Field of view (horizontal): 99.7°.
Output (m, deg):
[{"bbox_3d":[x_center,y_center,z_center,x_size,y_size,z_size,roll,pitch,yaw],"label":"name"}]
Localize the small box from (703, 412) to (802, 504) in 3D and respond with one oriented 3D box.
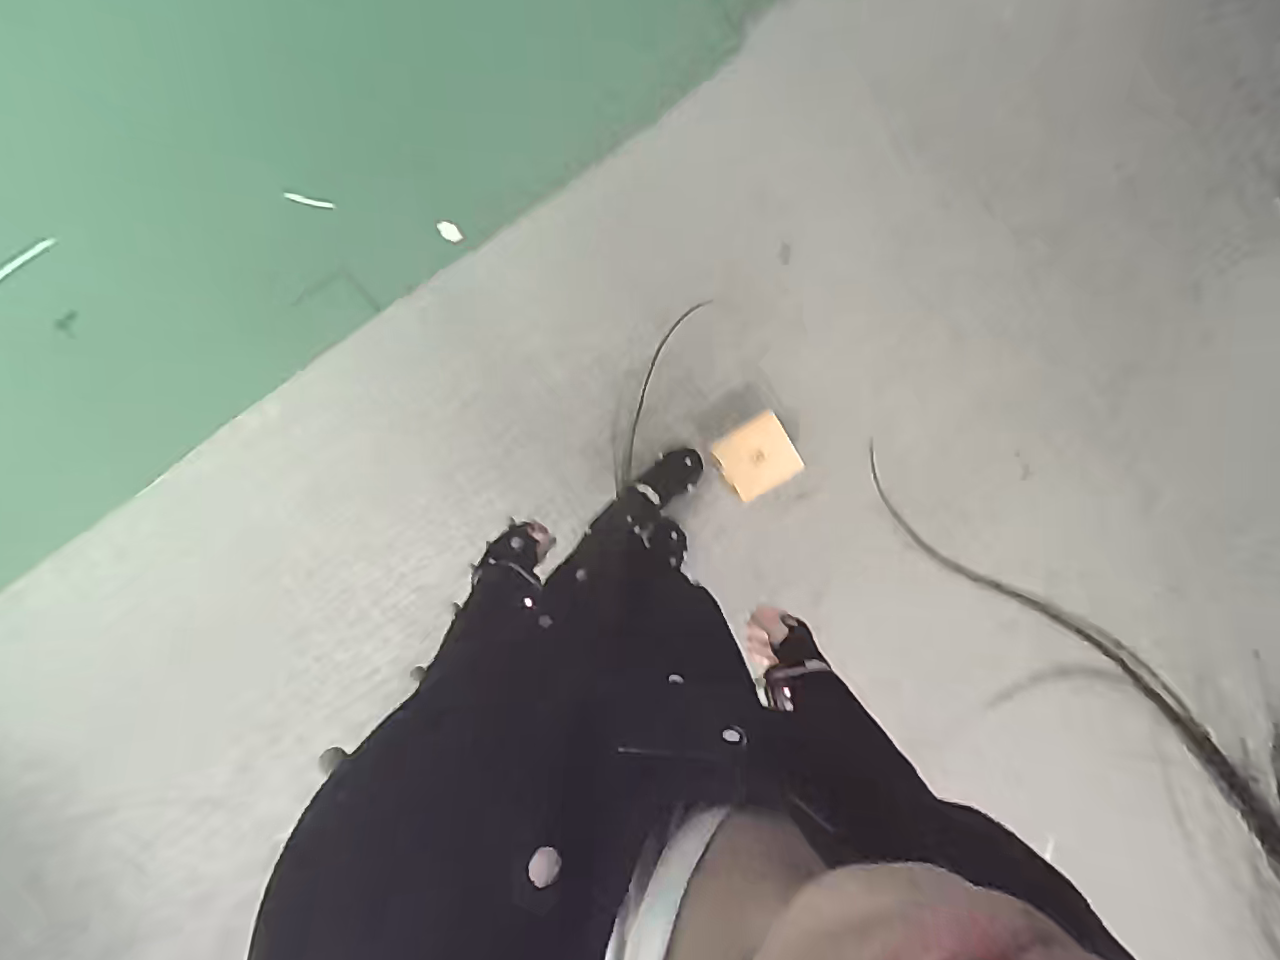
[{"bbox_3d":[0.279,-0.060,1.384,0.179,0.176,0.168,-31,93,2],"label":"small box"}]
